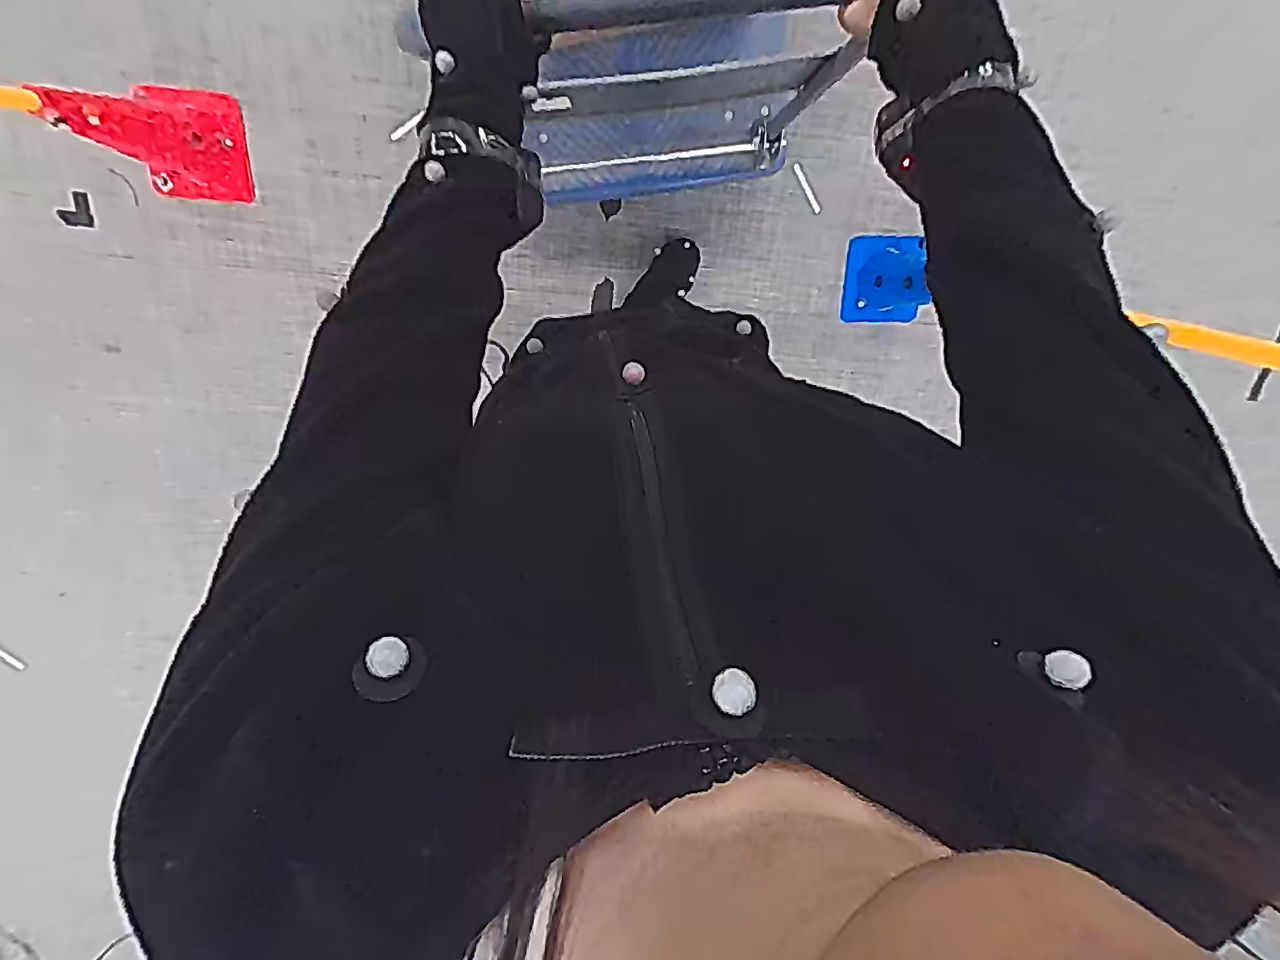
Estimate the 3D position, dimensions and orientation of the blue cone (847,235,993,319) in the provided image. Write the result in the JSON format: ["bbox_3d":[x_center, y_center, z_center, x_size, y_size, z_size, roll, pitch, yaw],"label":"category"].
[{"bbox_3d":[0.618,-0.434,1.168,0.193,0.380,0.192,0,111,-5],"label":"blue cone"}]
